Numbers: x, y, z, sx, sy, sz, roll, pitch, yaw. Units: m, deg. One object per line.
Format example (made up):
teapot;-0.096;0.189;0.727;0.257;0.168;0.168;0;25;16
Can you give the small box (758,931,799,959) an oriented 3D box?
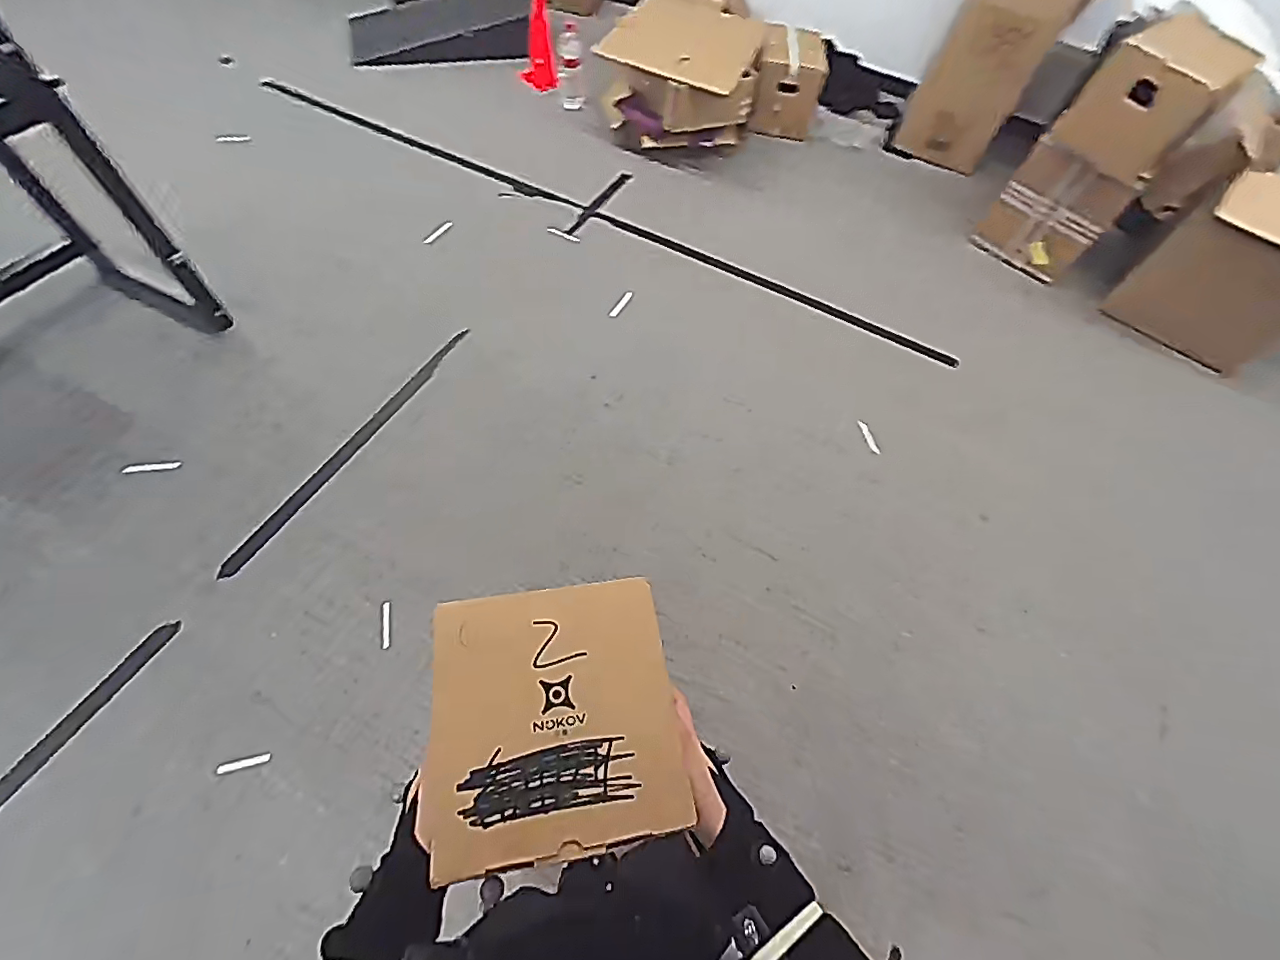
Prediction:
small box;0.312;1.020;1.034;0.168;0.176;0.179;27;60;9

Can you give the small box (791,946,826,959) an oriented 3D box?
small box;0.329;0.930;0.897;0.168;0.176;0.179;28;60;11
